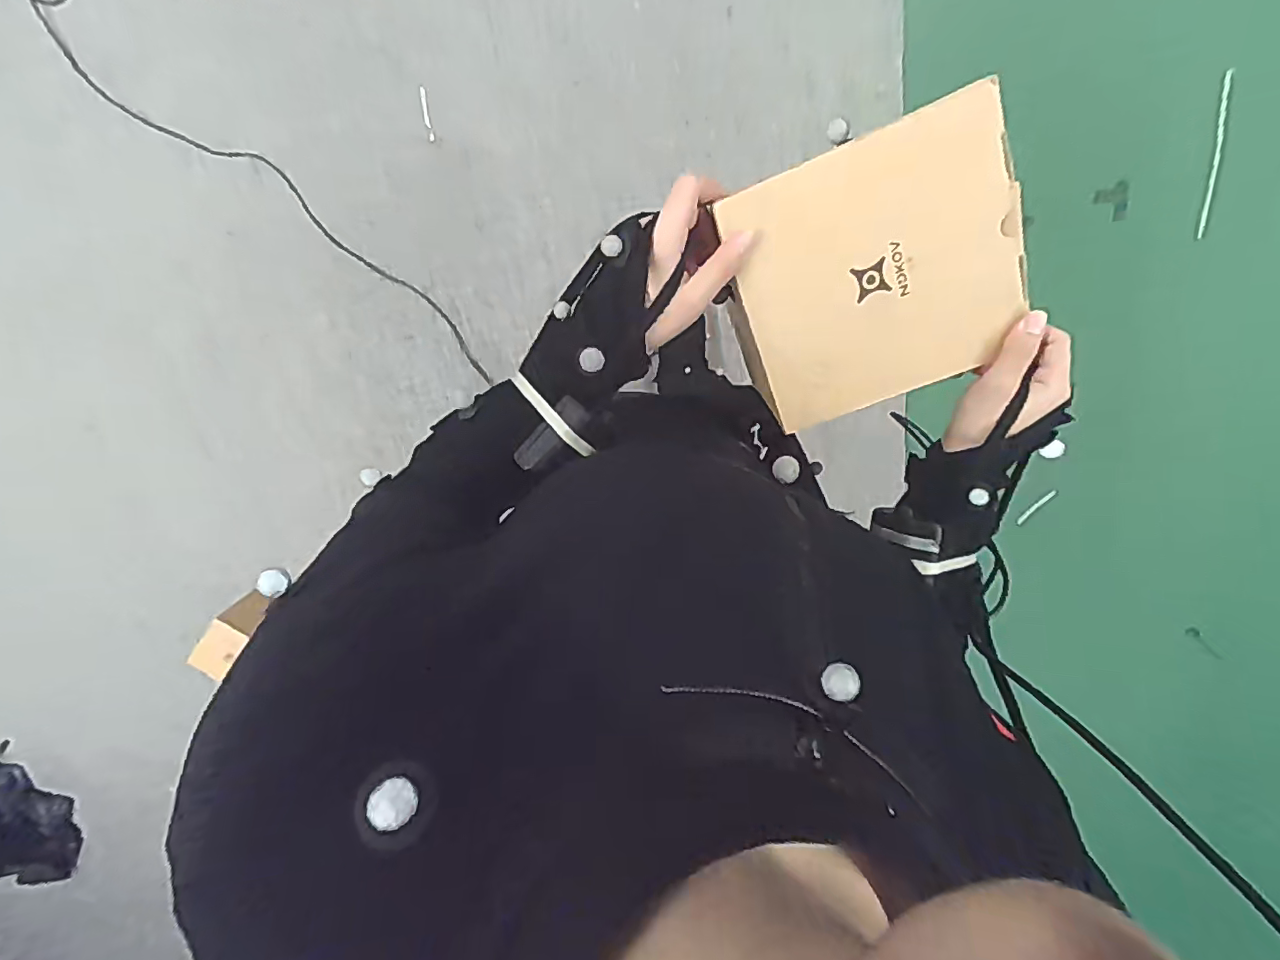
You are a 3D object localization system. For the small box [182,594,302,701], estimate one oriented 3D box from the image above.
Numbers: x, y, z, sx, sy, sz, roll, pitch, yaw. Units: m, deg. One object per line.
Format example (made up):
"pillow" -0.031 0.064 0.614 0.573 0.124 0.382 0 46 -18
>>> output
"small box" -1.051 0.442 1.445 0.168 0.176 0.179 37 104 -12
